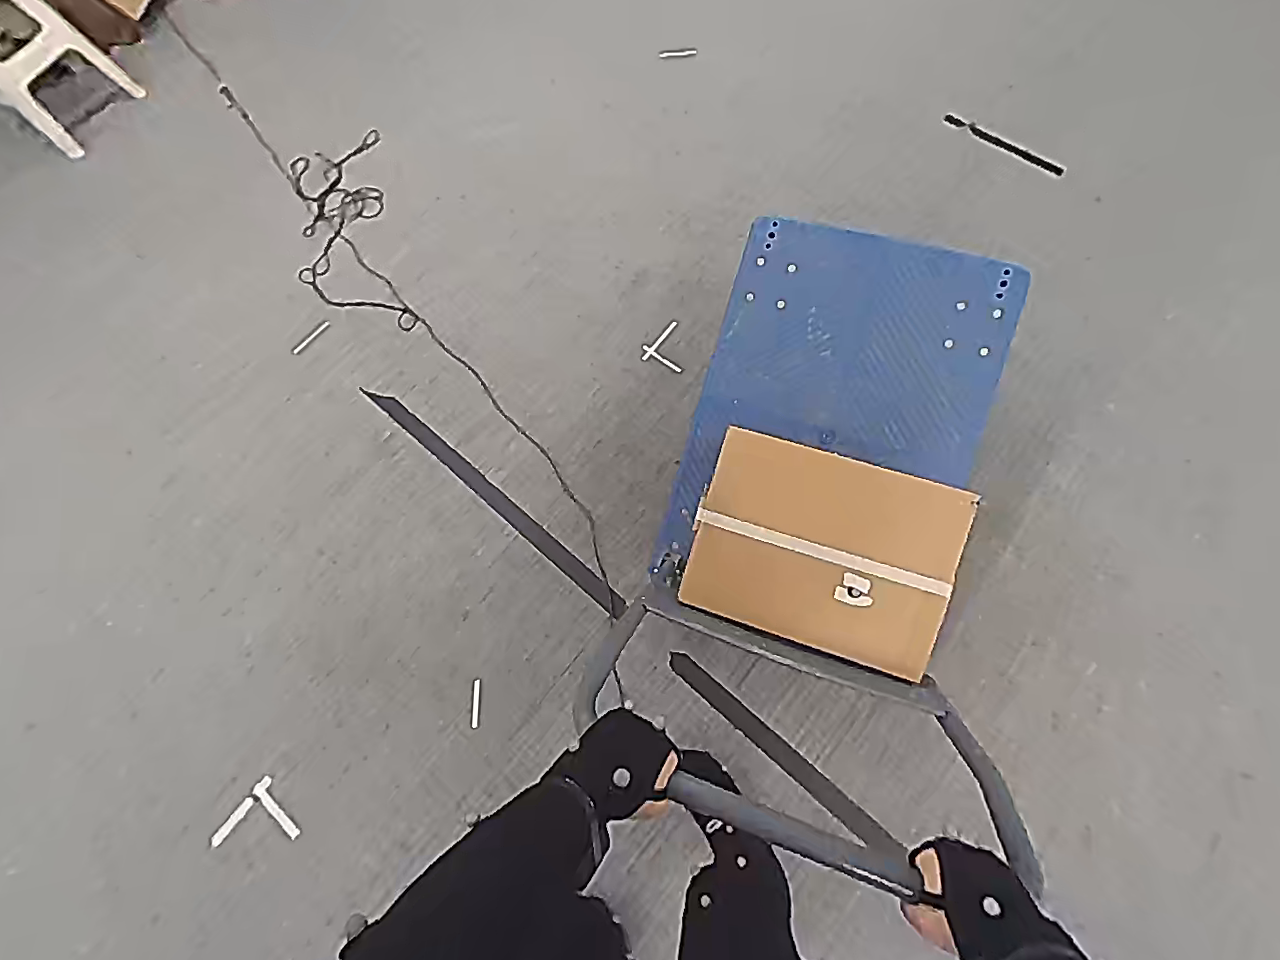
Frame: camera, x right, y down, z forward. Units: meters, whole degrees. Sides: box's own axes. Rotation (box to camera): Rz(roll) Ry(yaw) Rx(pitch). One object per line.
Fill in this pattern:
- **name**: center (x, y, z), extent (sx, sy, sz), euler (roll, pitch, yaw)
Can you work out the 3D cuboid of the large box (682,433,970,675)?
- **large box**: center (0.322, 0.118, 1.043), extent (0.408, 0.320, 0.320), euler (17, 93, 10)
